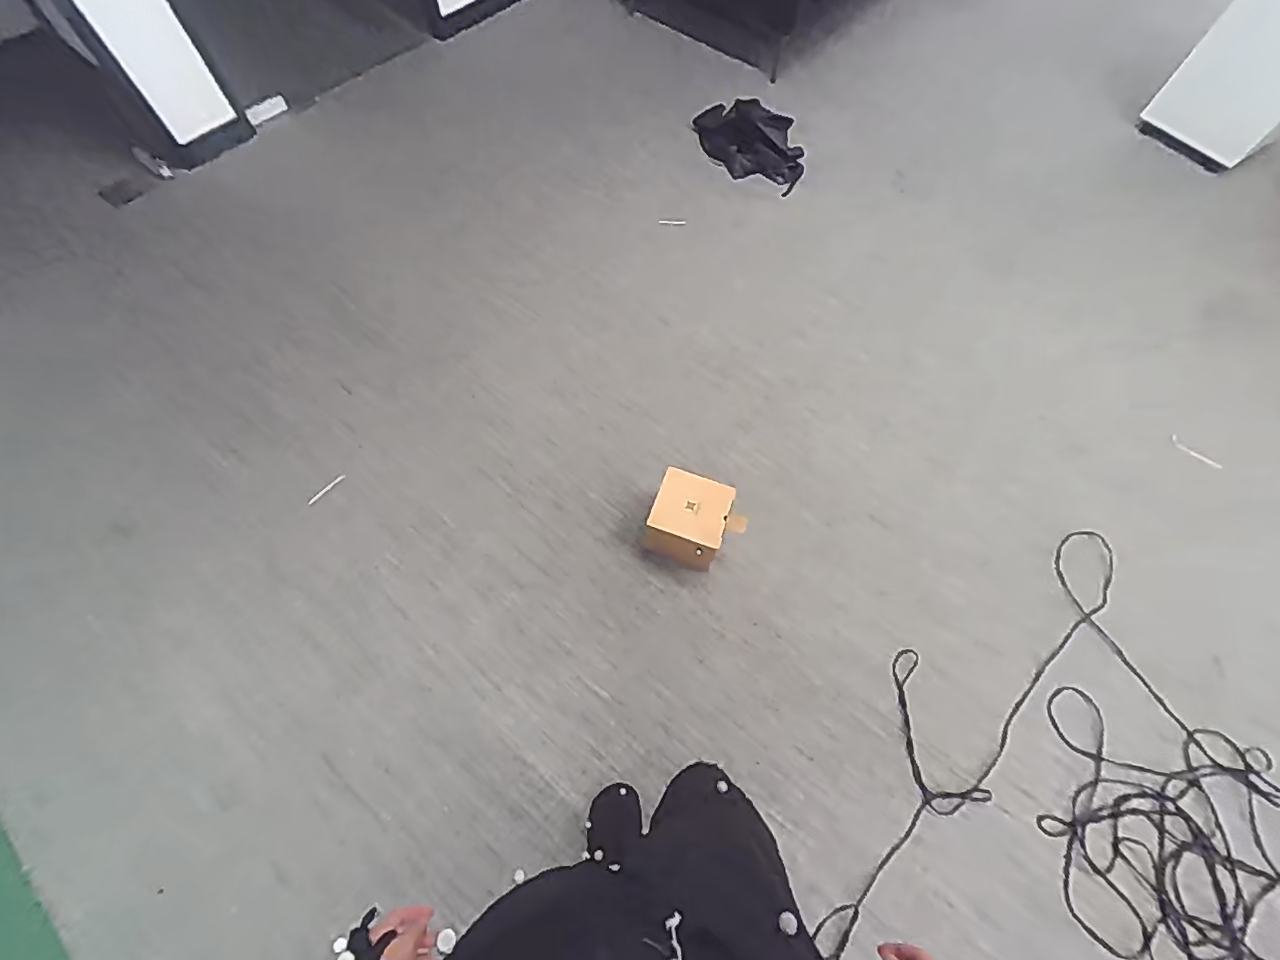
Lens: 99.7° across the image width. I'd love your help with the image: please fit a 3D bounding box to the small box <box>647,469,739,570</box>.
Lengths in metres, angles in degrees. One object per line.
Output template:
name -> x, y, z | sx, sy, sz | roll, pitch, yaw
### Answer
small box -> 0.124, 0.103, 1.324 | 0.179, 0.176, 0.168 | 19, 64, 6
